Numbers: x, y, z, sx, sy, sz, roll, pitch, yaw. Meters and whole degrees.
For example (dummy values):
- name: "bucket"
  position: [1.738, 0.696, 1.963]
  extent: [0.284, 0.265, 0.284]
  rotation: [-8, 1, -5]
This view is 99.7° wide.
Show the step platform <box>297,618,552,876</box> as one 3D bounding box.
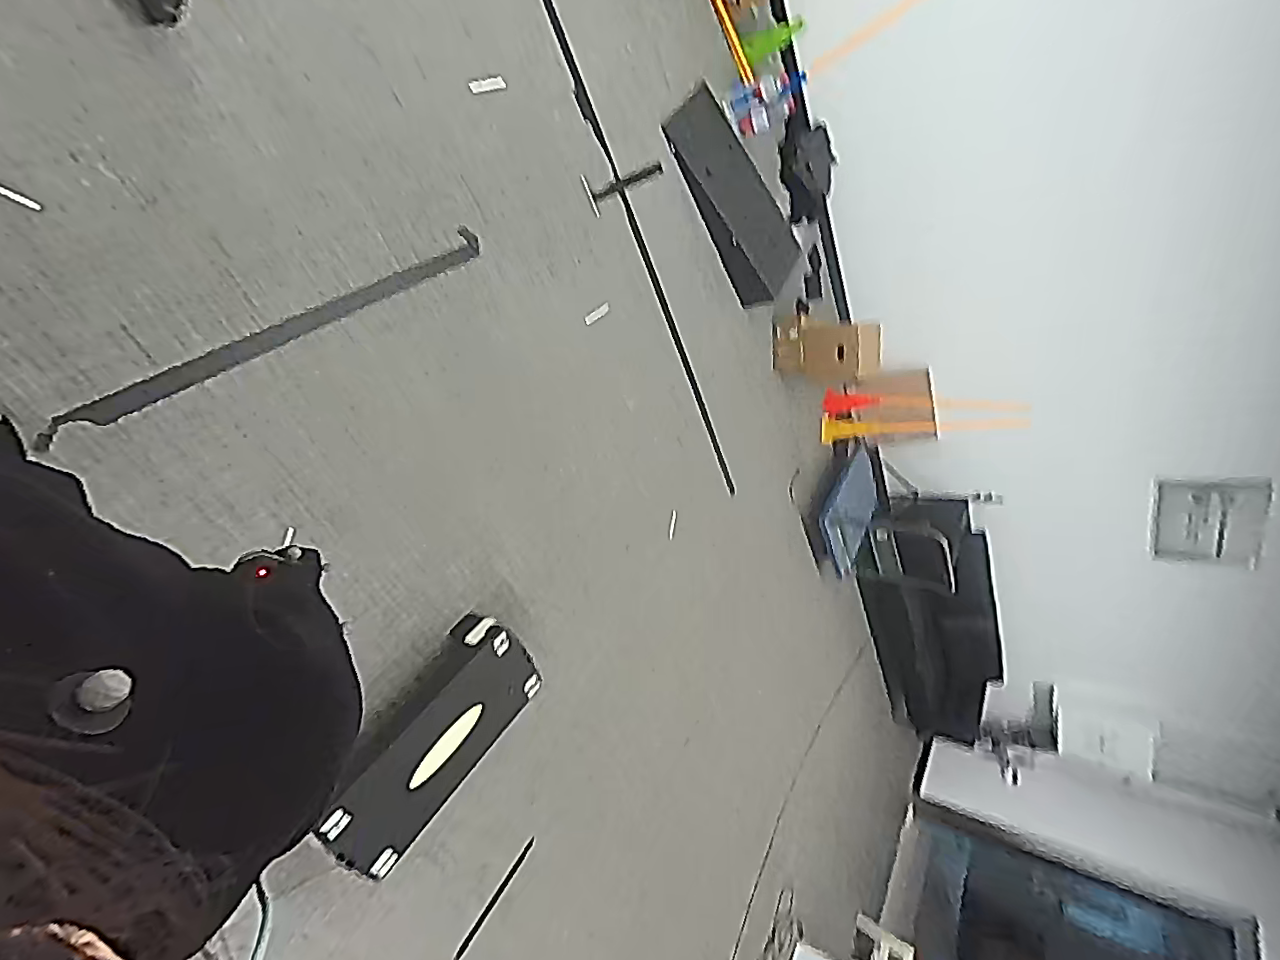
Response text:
- name: "step platform"
  position: [-0.566, 0.720, 1.551]
  extent: [0.684, 0.204, 0.286]
  rotation: [-41, 120, -41]
